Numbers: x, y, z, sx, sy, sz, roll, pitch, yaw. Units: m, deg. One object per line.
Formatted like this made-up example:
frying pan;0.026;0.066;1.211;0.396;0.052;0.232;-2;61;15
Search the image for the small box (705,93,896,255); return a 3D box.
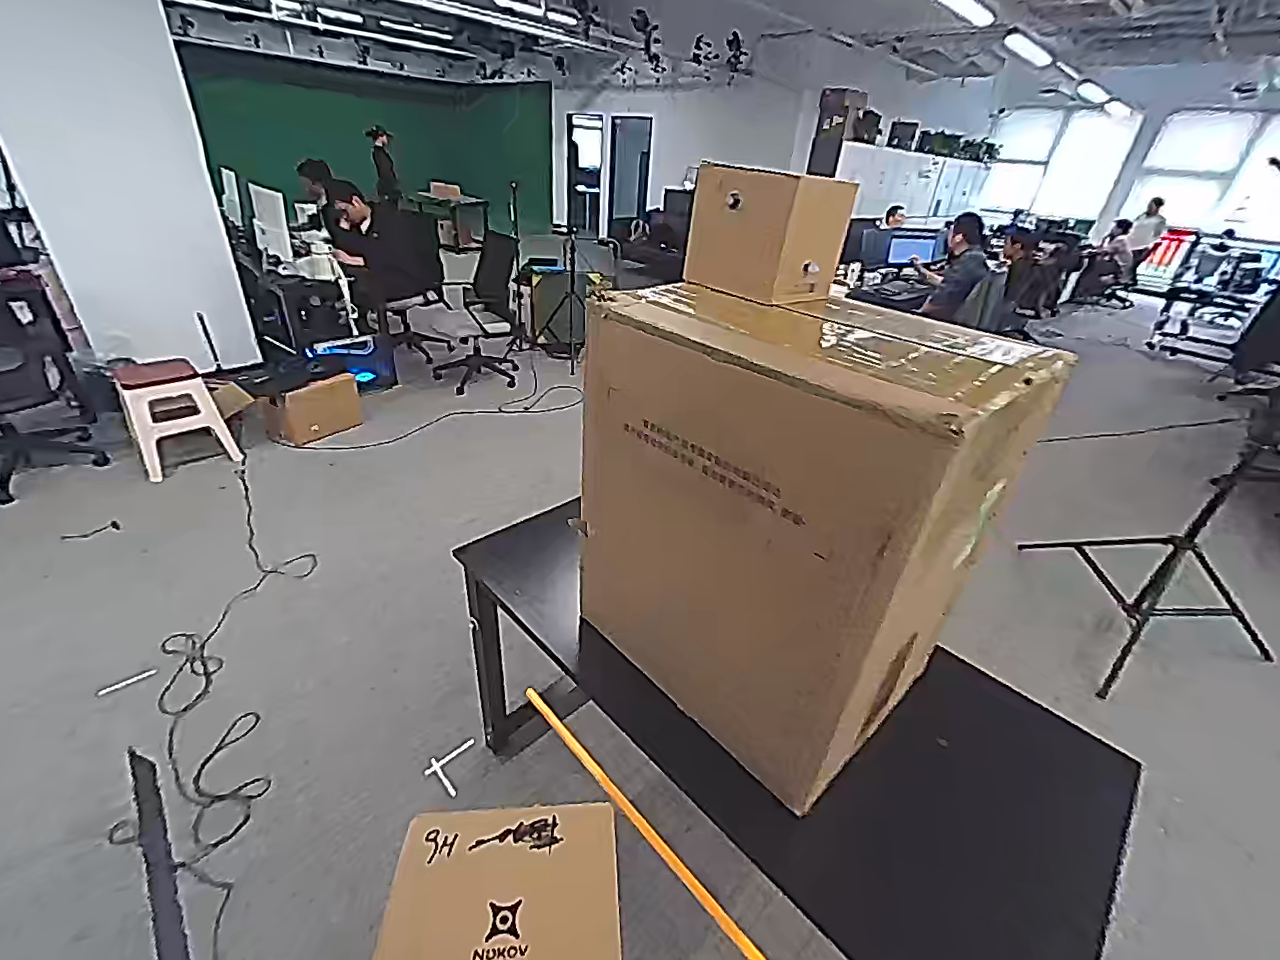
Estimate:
small box;0.212;-0.419;0.750;0.168;0.176;0.179;-21;41;-39
